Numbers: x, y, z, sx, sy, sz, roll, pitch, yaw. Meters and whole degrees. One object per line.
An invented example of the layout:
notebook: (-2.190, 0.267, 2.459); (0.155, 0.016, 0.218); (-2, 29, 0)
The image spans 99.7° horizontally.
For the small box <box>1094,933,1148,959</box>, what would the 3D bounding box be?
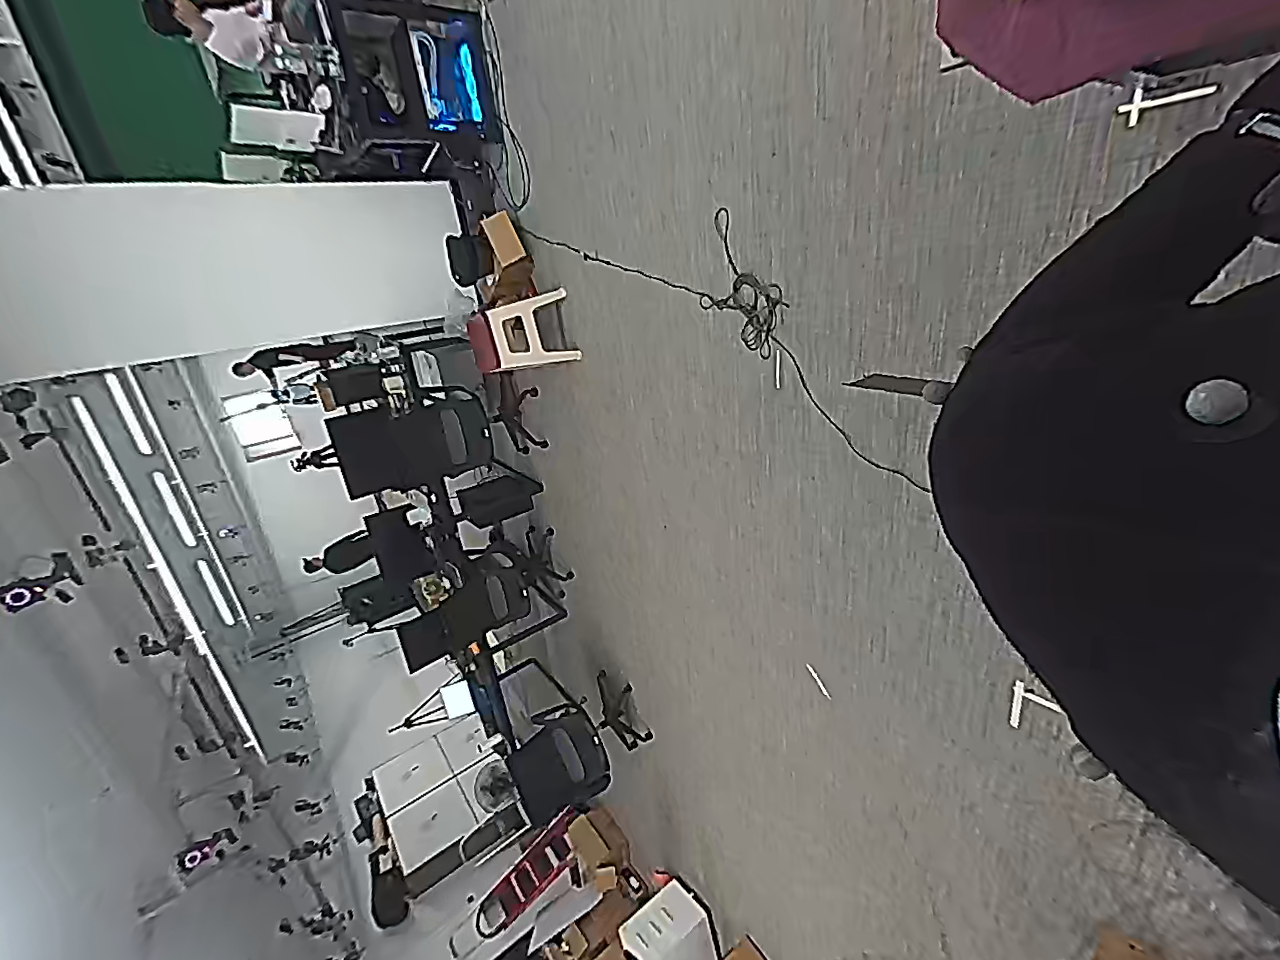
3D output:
small box: (1.369, 1.442, 1.516); (0.168, 0.176, 0.179); (21, 125, 51)
